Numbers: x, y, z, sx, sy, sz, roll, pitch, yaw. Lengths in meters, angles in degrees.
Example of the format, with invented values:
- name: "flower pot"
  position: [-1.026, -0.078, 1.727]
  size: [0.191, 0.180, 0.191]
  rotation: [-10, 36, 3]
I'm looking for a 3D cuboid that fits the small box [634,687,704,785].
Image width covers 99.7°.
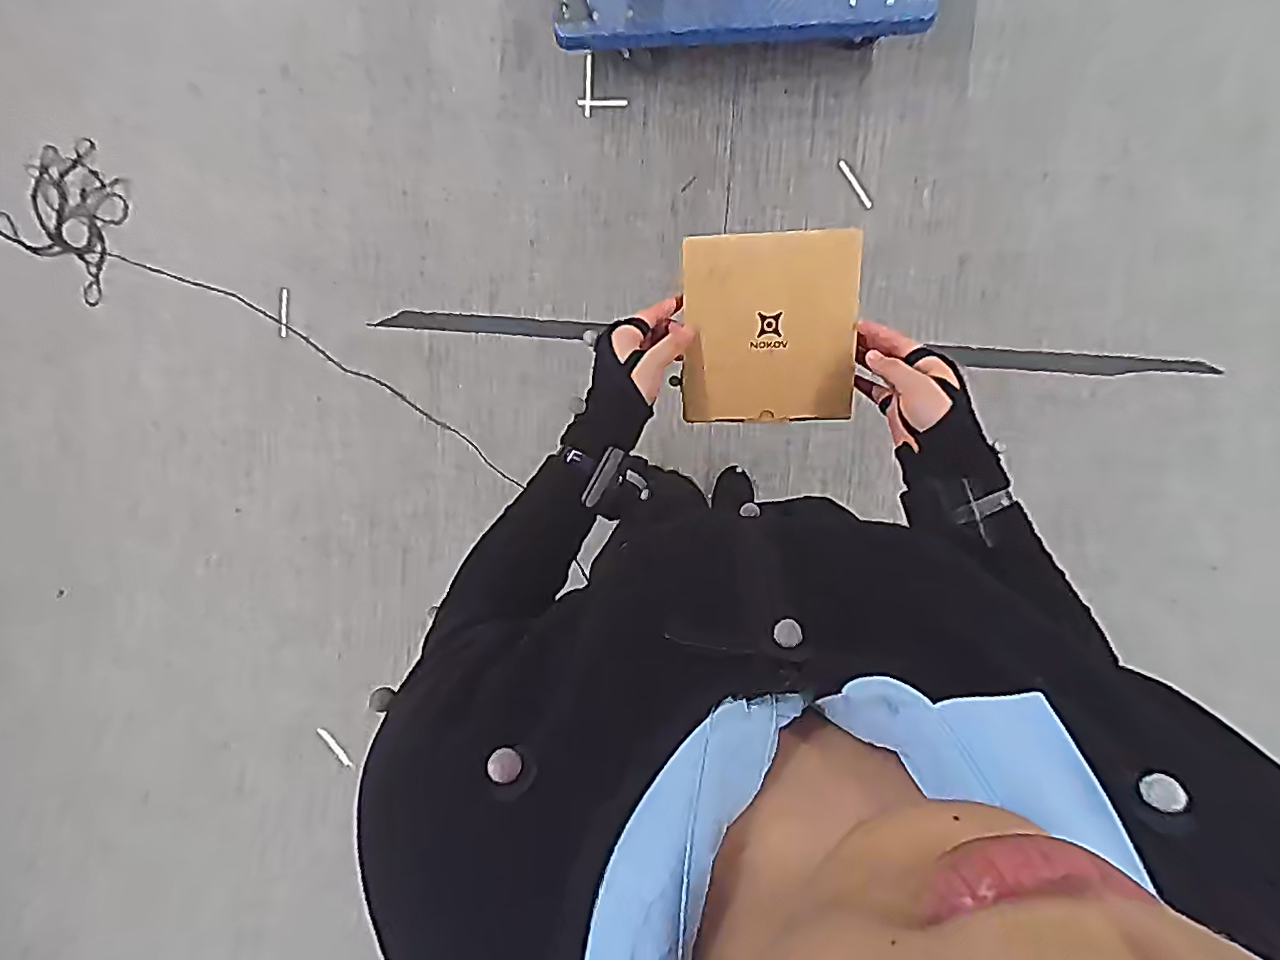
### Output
- name: "small box"
  position: [0.083, 0.685, 1.458]
  size: [0.168, 0.176, 0.179]
  rotation: [-8, 93, 6]
